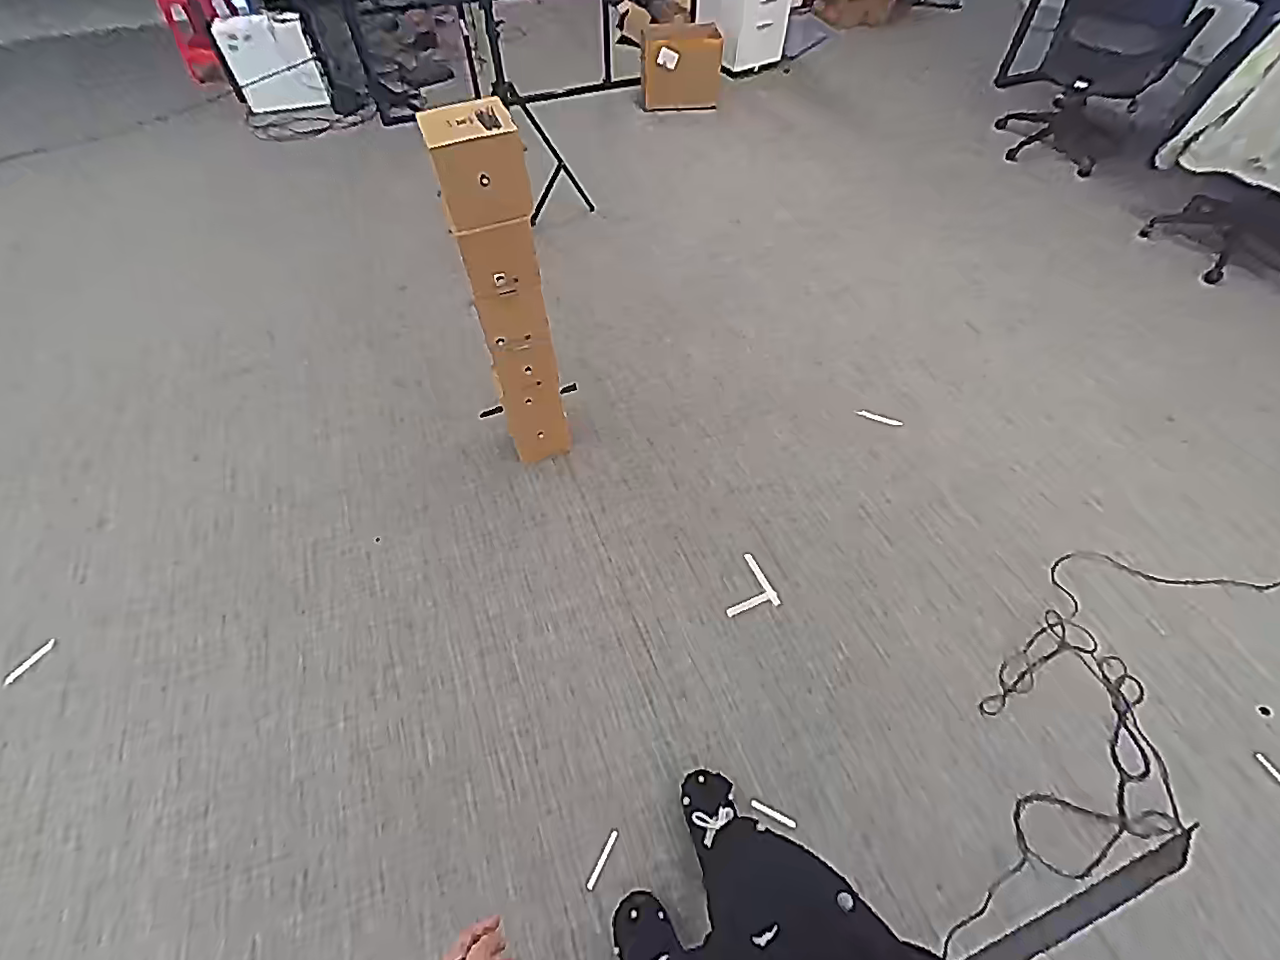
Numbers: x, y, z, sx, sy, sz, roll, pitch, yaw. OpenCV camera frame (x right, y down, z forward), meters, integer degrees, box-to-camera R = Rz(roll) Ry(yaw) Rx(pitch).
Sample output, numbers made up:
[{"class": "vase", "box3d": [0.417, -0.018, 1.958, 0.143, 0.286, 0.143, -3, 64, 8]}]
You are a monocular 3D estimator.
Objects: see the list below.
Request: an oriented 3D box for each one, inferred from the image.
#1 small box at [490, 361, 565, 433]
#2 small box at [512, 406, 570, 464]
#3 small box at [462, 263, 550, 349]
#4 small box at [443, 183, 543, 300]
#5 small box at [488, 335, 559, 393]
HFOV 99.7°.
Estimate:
[{"class": "small box", "box3d": [-0.342, -0.268, 1.655, 0.179, 0.176, 0.168, -16, 58, -10]}, {"class": "small box", "box3d": [-0.336, -0.180, 1.794, 0.179, 0.176, 0.168, -19, 58, -12]}, {"class": "small box", "box3d": [-0.339, -0.458, 1.388, 0.168, 0.176, 0.179, -18, 57, -11]}, {"class": "small box", "box3d": [-0.337, -0.550, 1.255, 0.168, 0.176, 0.179, -20, 59, -12]}, {"class": "small box", "box3d": [-0.335, -0.365, 1.523, 0.168, 0.176, 0.179, -17, 58, -11]}]
